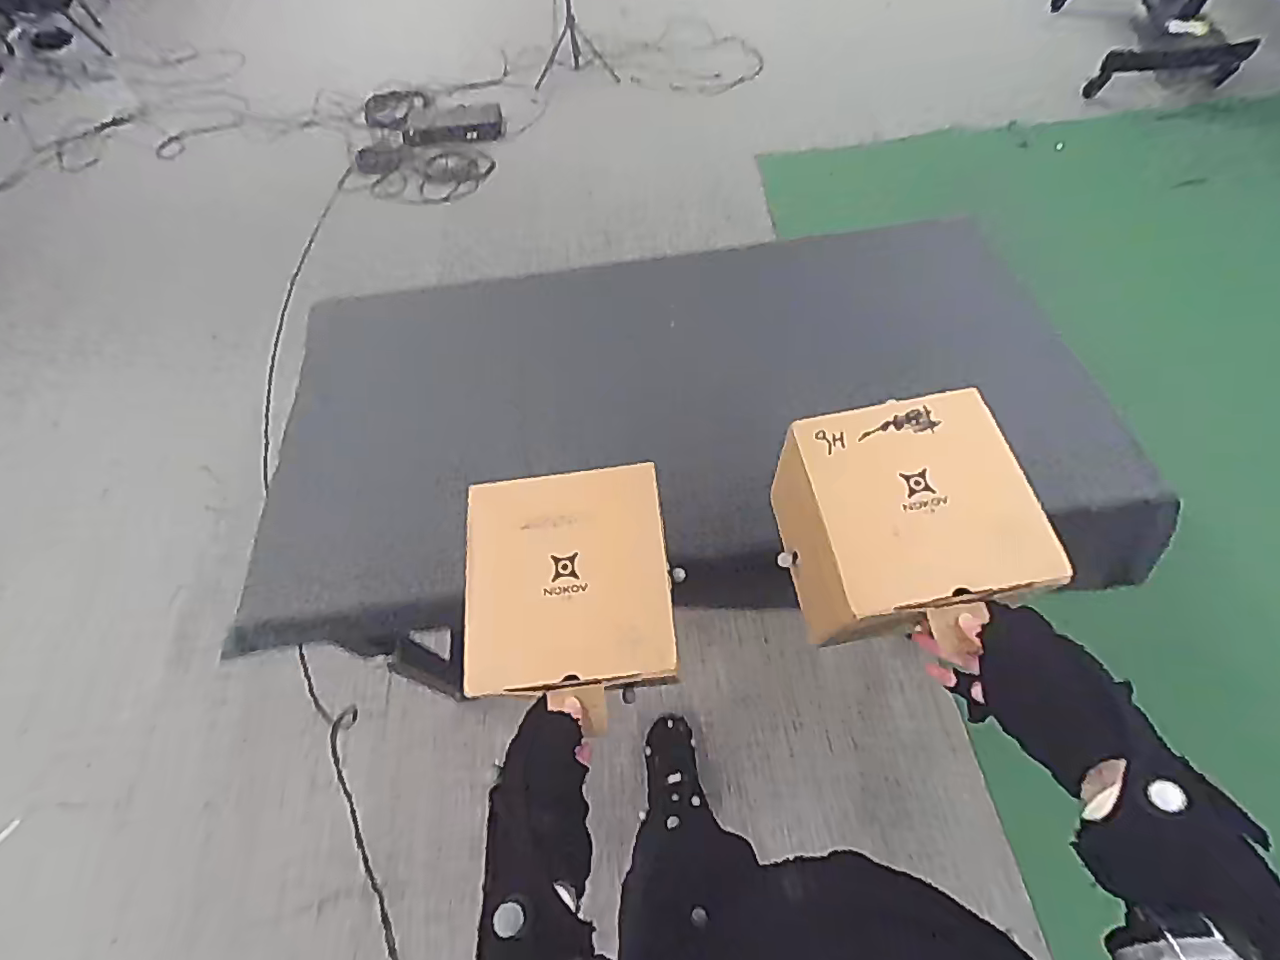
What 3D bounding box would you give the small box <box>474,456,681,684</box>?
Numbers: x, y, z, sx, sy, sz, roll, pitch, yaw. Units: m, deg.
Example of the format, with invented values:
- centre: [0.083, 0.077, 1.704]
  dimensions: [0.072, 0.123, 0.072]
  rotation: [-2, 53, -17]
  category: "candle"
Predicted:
- centre: [-0.051, 0.098, 0.524]
  dimensions: [0.168, 0.176, 0.179]
  rotation: [-7, 66, 1]
  category: "small box"
